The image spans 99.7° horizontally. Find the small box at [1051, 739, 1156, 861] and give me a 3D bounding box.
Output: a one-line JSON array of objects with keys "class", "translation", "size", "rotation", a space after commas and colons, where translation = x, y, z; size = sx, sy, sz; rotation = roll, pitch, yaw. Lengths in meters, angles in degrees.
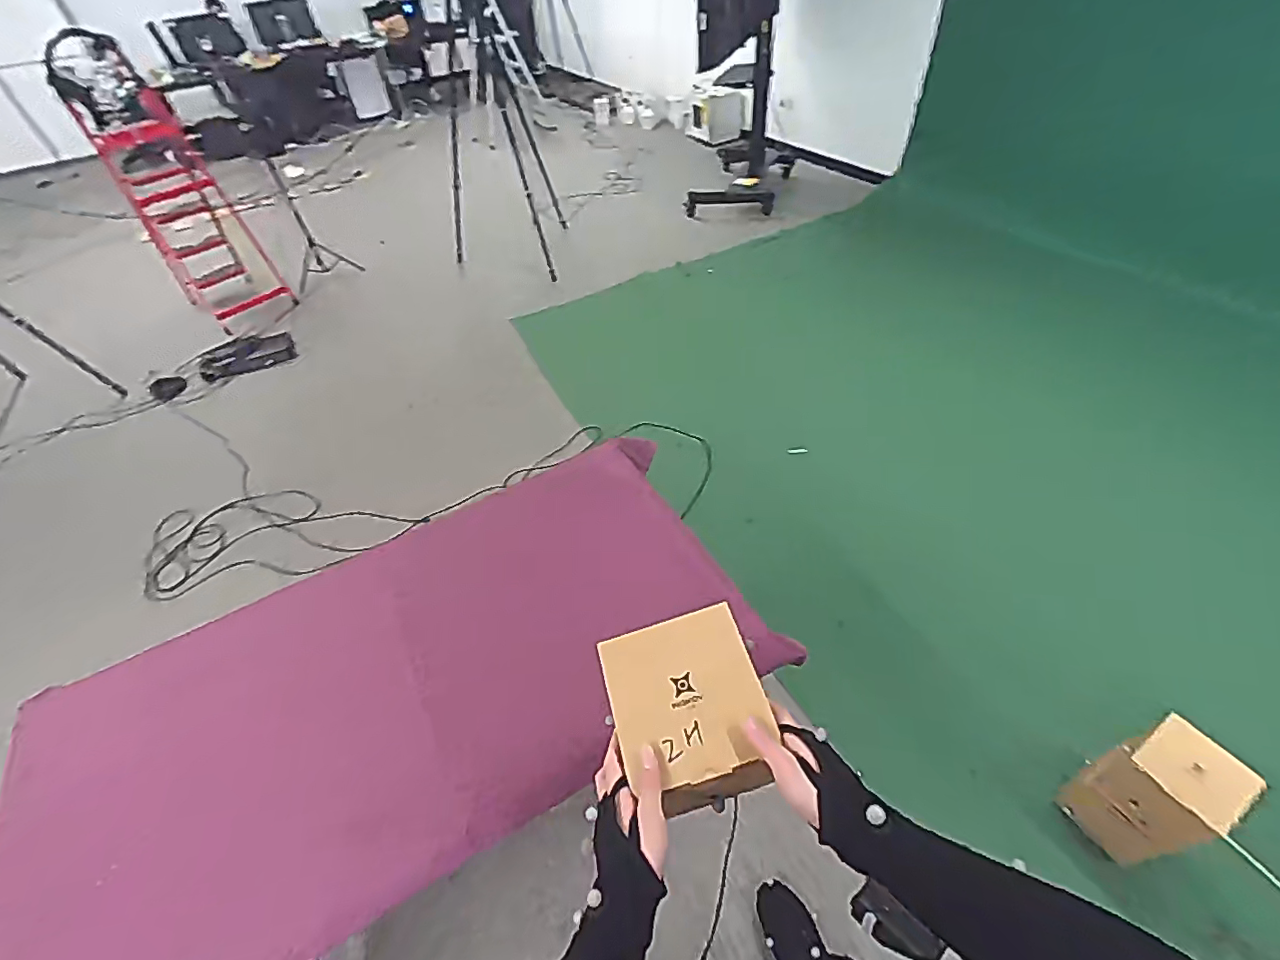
[{"class": "small box", "translation": [1.128, 0.762, 1.283], "size": [0.179, 0.176, 0.168], "rotation": [-26, 50, -18]}]

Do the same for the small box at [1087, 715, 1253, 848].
[{"class": "small box", "translation": [1.125, 0.651, 1.165], "size": [0.179, 0.176, 0.168], "rotation": [-28, 51, -18]}]

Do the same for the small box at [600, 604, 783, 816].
[{"class": "small box", "translation": [0.059, 0.282, 0.656], "size": [0.168, 0.176, 0.179], "rotation": [-16, 52, -2]}]
